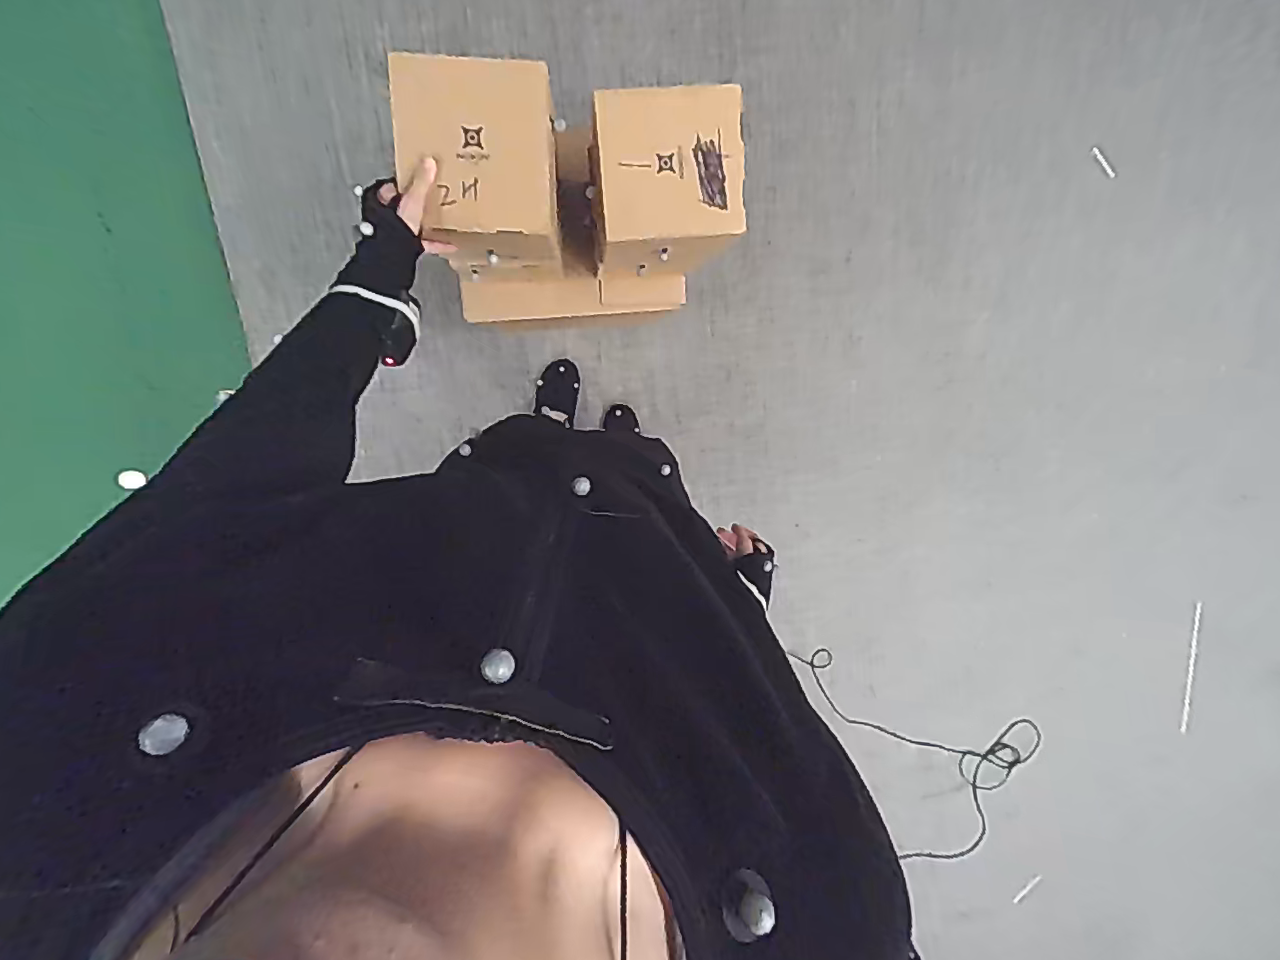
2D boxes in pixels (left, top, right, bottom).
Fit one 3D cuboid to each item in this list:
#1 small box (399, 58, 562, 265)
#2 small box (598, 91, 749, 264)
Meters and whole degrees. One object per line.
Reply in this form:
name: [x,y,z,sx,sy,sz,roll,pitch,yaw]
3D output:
small box: [-0.186,-0.379,0.676,0.168,0.176,0.179,0,103,-5]
small box: [0.036,-0.390,0.723,0.179,0.176,0.168,-3,104,-4]
